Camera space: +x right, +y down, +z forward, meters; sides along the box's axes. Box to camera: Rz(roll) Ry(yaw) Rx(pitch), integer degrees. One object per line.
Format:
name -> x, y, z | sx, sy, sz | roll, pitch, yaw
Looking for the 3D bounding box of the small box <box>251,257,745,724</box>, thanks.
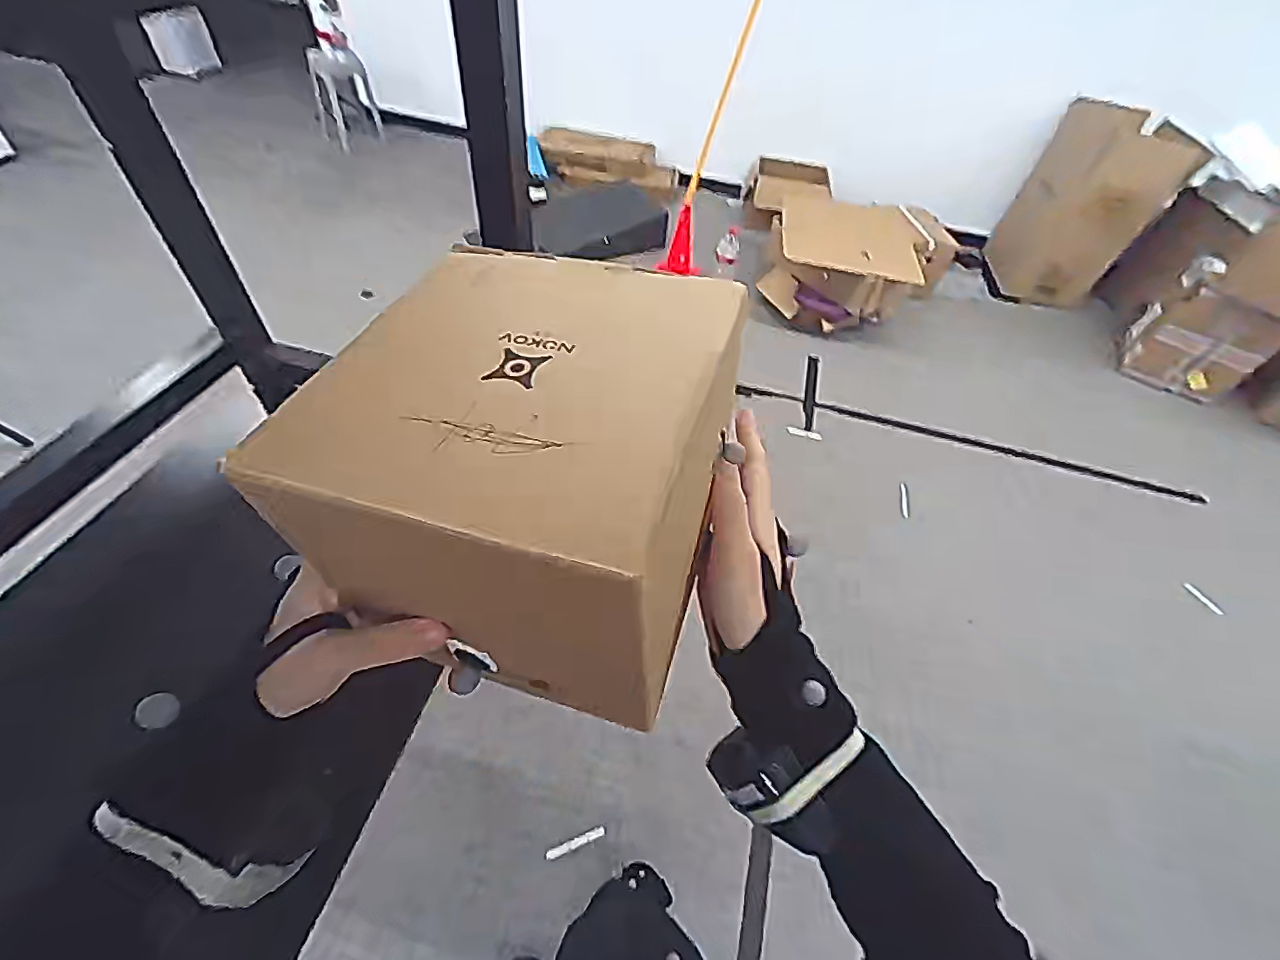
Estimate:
small box -> -0.045, 0.005, 0.299 | 0.168, 0.176, 0.179 | 11, 53, 13
